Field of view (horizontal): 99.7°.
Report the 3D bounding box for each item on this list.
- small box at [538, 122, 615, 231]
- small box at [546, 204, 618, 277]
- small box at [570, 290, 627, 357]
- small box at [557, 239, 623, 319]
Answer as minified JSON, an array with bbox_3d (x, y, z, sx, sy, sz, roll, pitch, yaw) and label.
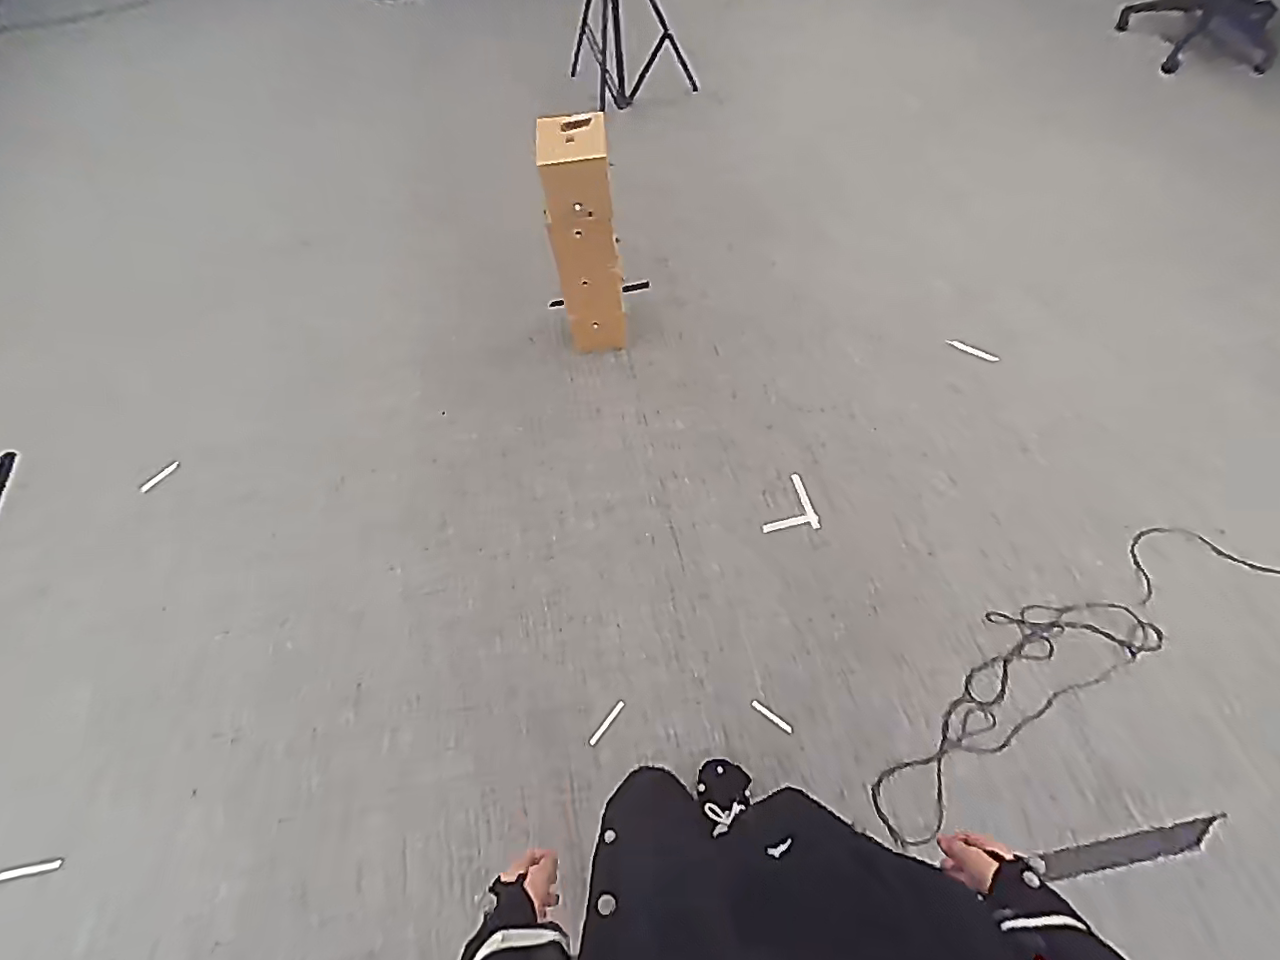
[{"bbox_3d":[-0.155,-0.761,1.364,0.168,0.176,0.179,-5,65,2],"label":"small box"},{"bbox_3d":[-0.158,-0.690,1.512,0.179,0.176,0.168,-5,64,1],"label":"small box"},{"bbox_3d":[-0.134,-0.530,1.796,0.179,0.176,0.168,-5,63,1],"label":"small box"},{"bbox_3d":[-0.147,-0.611,1.653,0.179,0.176,0.168,-2,64,3],"label":"small box"}]
